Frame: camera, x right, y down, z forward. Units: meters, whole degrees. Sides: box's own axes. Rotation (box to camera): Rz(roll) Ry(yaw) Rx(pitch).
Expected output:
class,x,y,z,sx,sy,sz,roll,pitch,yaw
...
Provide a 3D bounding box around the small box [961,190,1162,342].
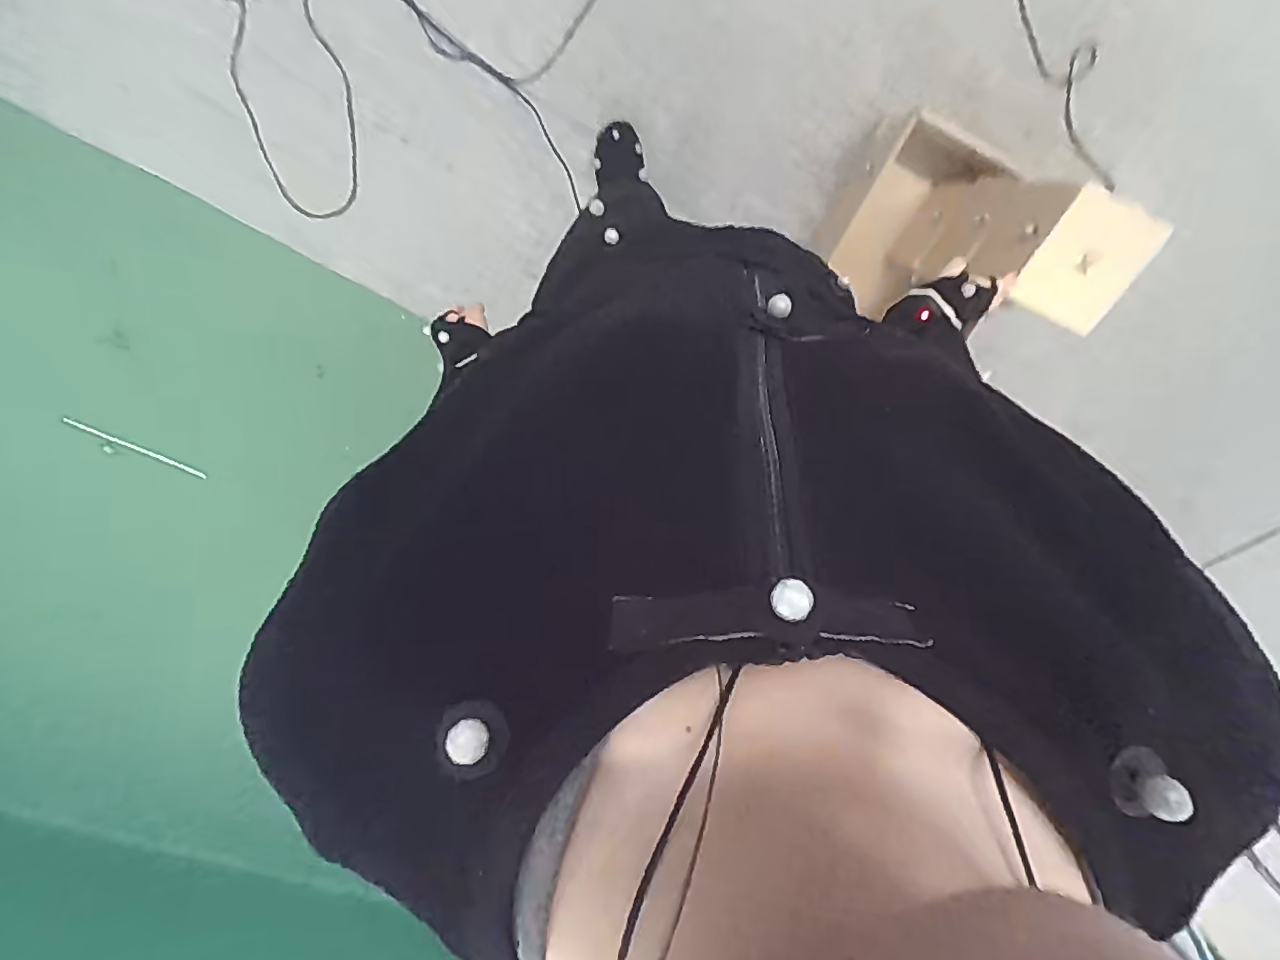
class,x,y,z,sx,sy,sz,roll,pitch,yaw
small box,0.682,-0.362,0.907,0.168,0.176,0.179,21,116,-9

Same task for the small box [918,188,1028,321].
class,x,y,z,sx,sy,sz,roll,pitch,yaw
small box,0.685,-0.442,1.049,0.168,0.176,0.179,26,117,-12
